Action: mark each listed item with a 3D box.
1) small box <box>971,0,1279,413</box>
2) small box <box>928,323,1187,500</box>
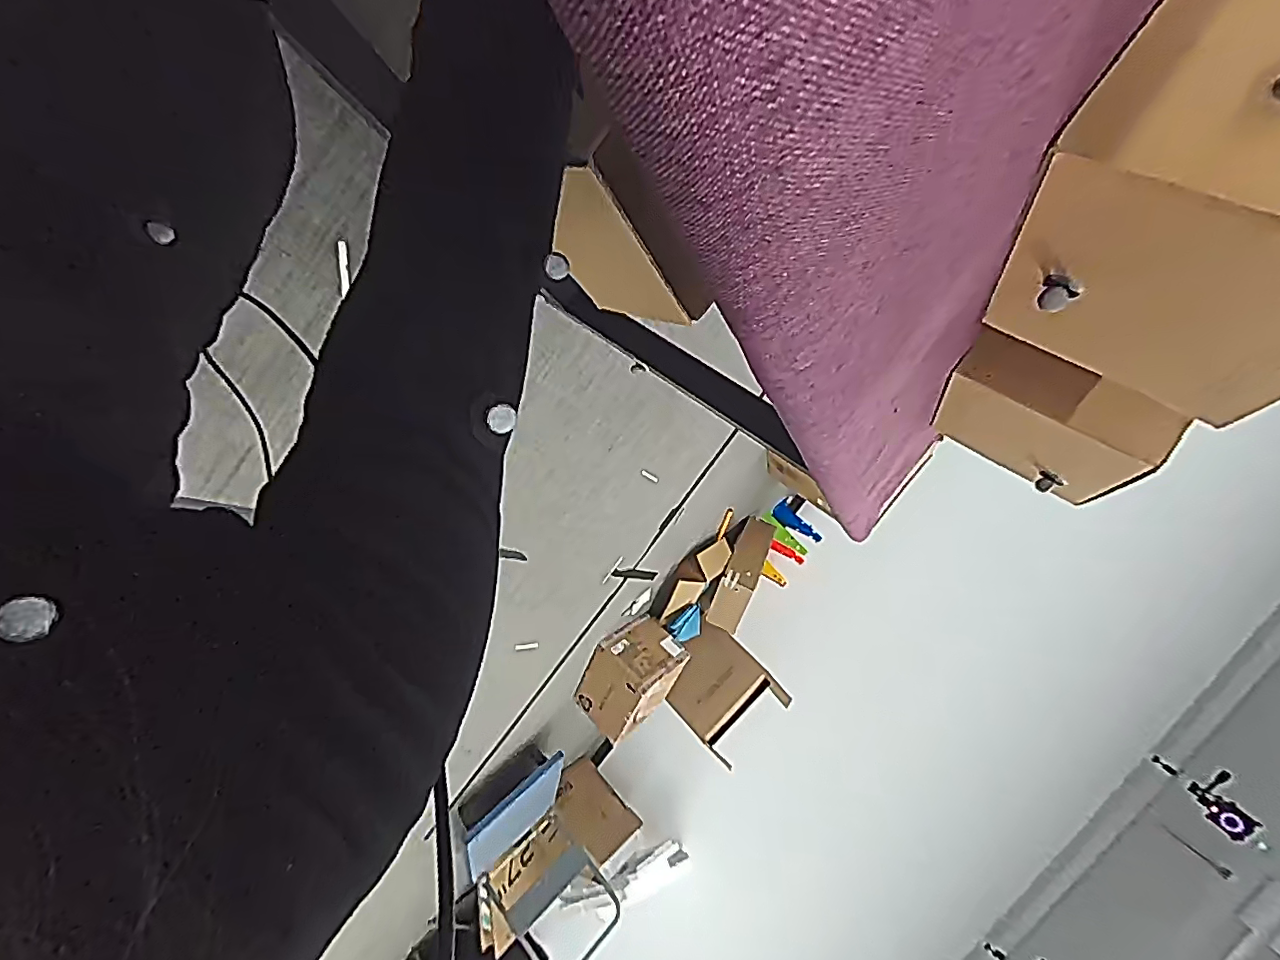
[{"bbox_3d":[0.338,-0.167,0.315,0.168,0.176,0.179,-54,155,2],"label":"small box"},{"bbox_3d":[0.418,-0.105,0.539,0.168,0.176,0.179,-55,156,2],"label":"small box"}]
